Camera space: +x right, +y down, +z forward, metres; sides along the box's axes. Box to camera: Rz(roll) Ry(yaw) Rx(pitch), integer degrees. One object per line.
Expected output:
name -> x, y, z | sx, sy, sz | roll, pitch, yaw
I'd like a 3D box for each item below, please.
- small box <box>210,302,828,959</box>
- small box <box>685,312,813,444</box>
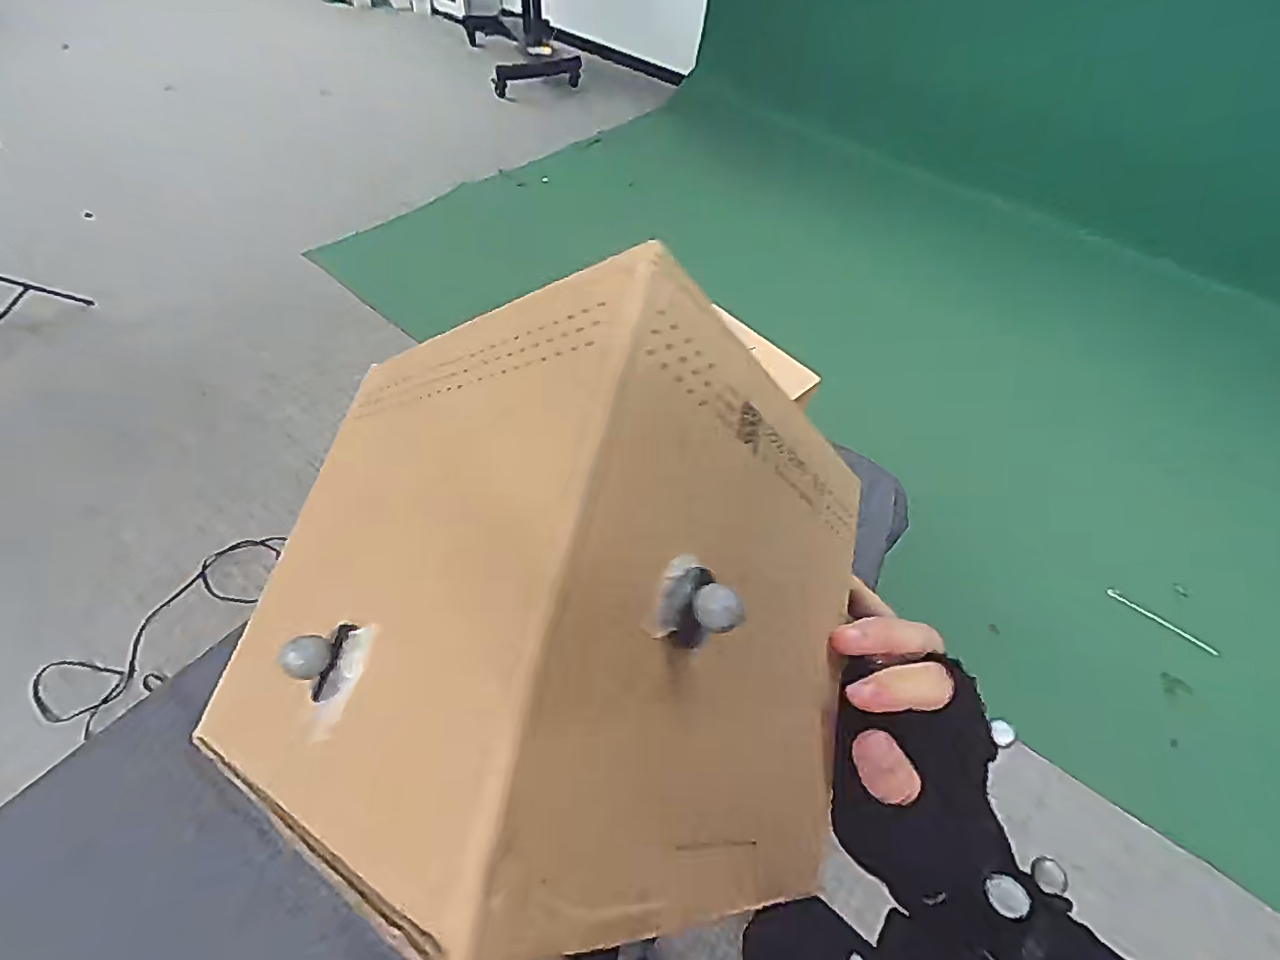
small box -> -0.030, 0.052, 0.232 | 0.179, 0.168, 0.176 | -5, 62, 40
small box -> 0.069, -0.063, 0.649 | 0.179, 0.176, 0.168 | -35, 65, -28
